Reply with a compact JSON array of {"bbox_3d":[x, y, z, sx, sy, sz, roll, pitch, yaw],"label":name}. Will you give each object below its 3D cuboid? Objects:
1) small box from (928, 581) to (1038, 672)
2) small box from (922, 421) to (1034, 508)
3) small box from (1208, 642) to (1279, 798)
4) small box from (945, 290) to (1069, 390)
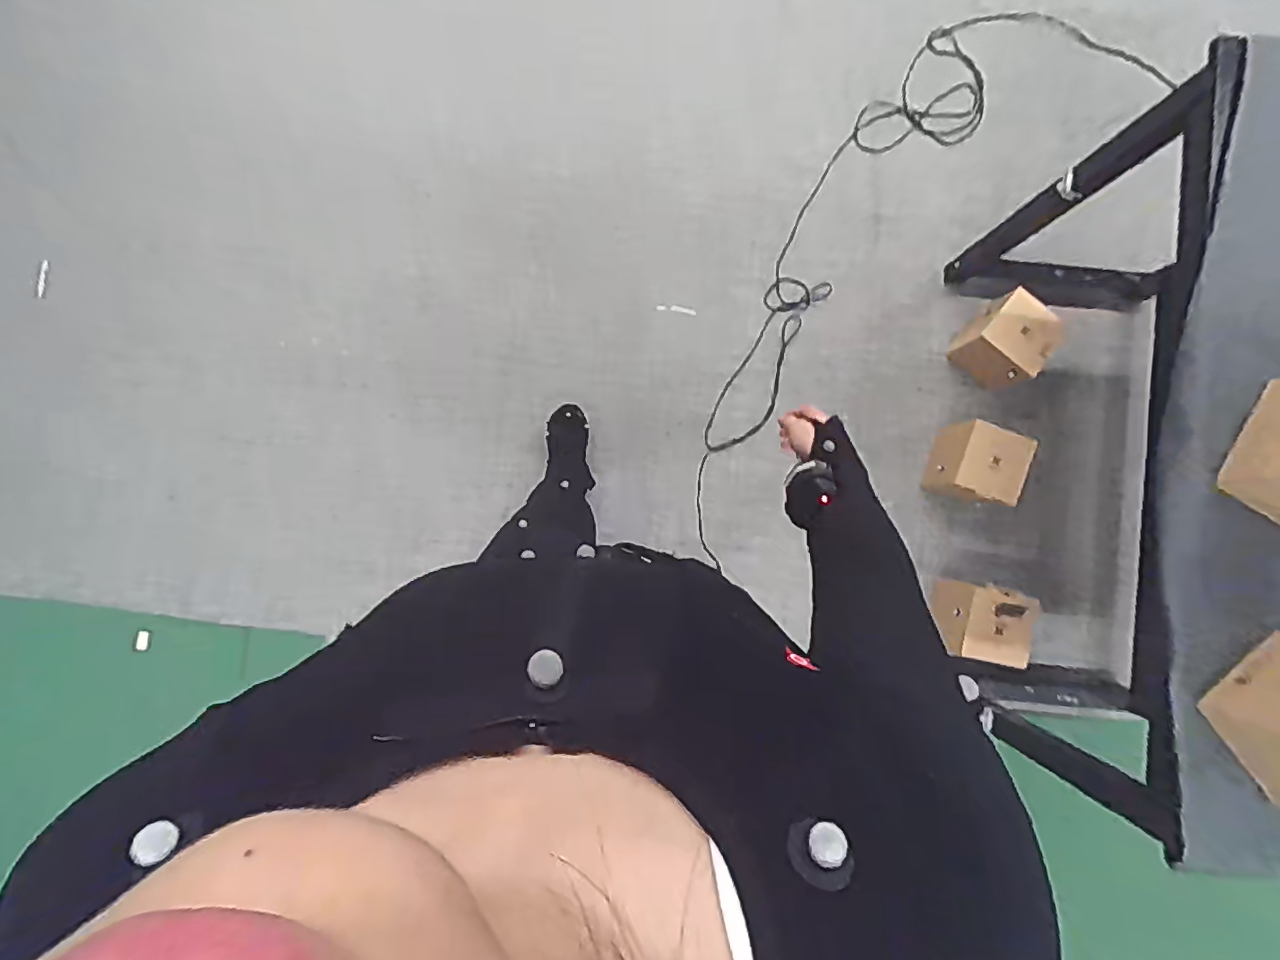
[{"bbox_3d":[0.874,0.369,1.395,0.168,0.176,0.179,12,88,0],"label":"small box"},{"bbox_3d":[0.874,-0.034,1.417,0.168,0.176,0.179,20,85,-1],"label":"small box"},{"bbox_3d":[0.884,0.317,0.664,0.168,0.176,0.179,-38,89,-5],"label":"small box"},{"bbox_3d":[0.963,-0.361,1.438,0.179,0.176,0.168,39,87,1],"label":"small box"}]
